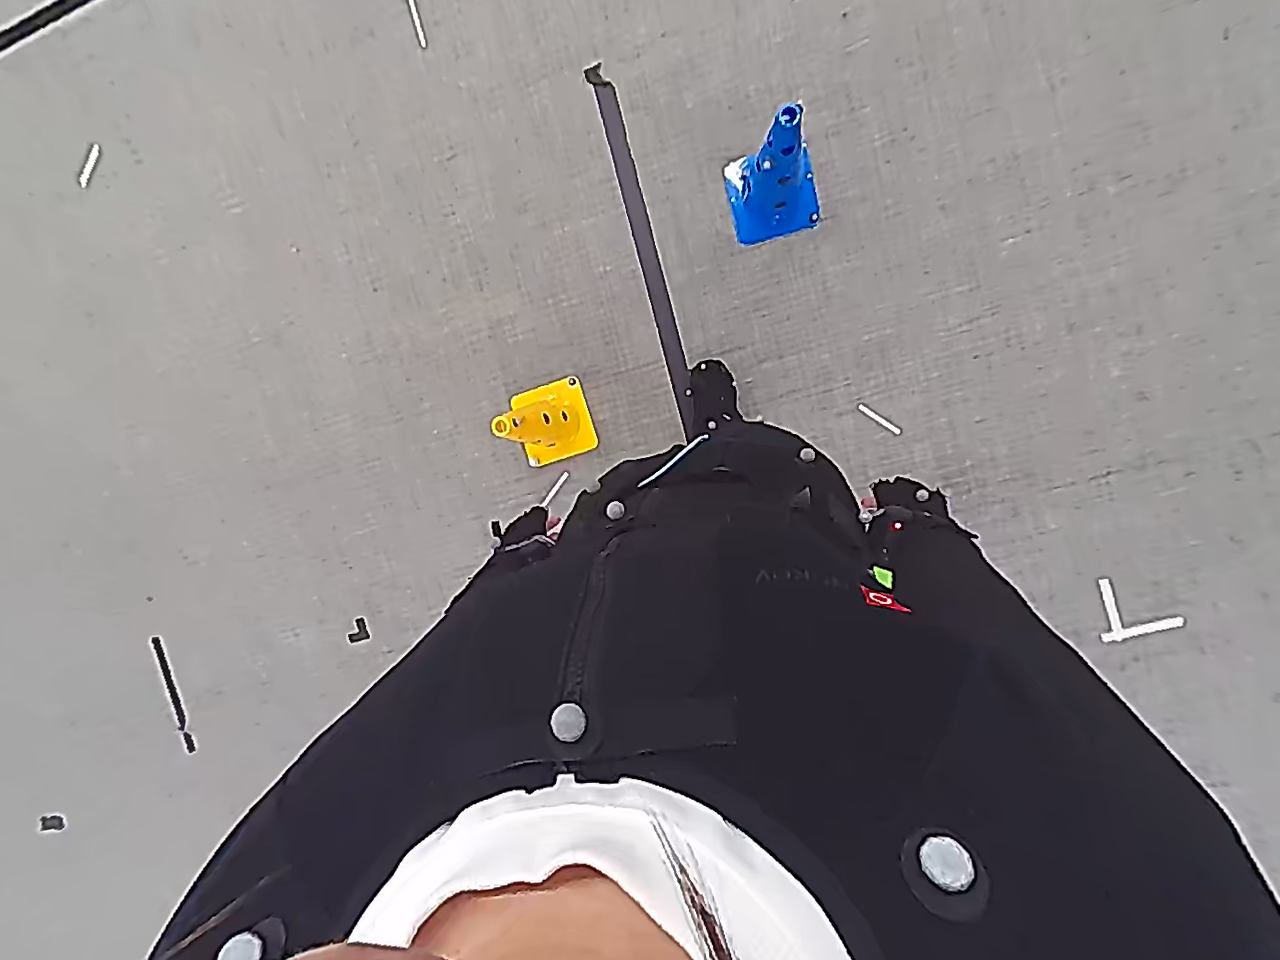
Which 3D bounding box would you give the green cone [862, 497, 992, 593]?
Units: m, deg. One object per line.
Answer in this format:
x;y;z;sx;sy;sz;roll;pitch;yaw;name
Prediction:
0.645;0.175;1.167;0.202;0.368;0.200;-15;94;9;green cone

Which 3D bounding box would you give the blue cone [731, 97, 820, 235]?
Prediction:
0.299;-0.676;1.132;0.192;0.380;0.193;-11;95;9;blue cone
